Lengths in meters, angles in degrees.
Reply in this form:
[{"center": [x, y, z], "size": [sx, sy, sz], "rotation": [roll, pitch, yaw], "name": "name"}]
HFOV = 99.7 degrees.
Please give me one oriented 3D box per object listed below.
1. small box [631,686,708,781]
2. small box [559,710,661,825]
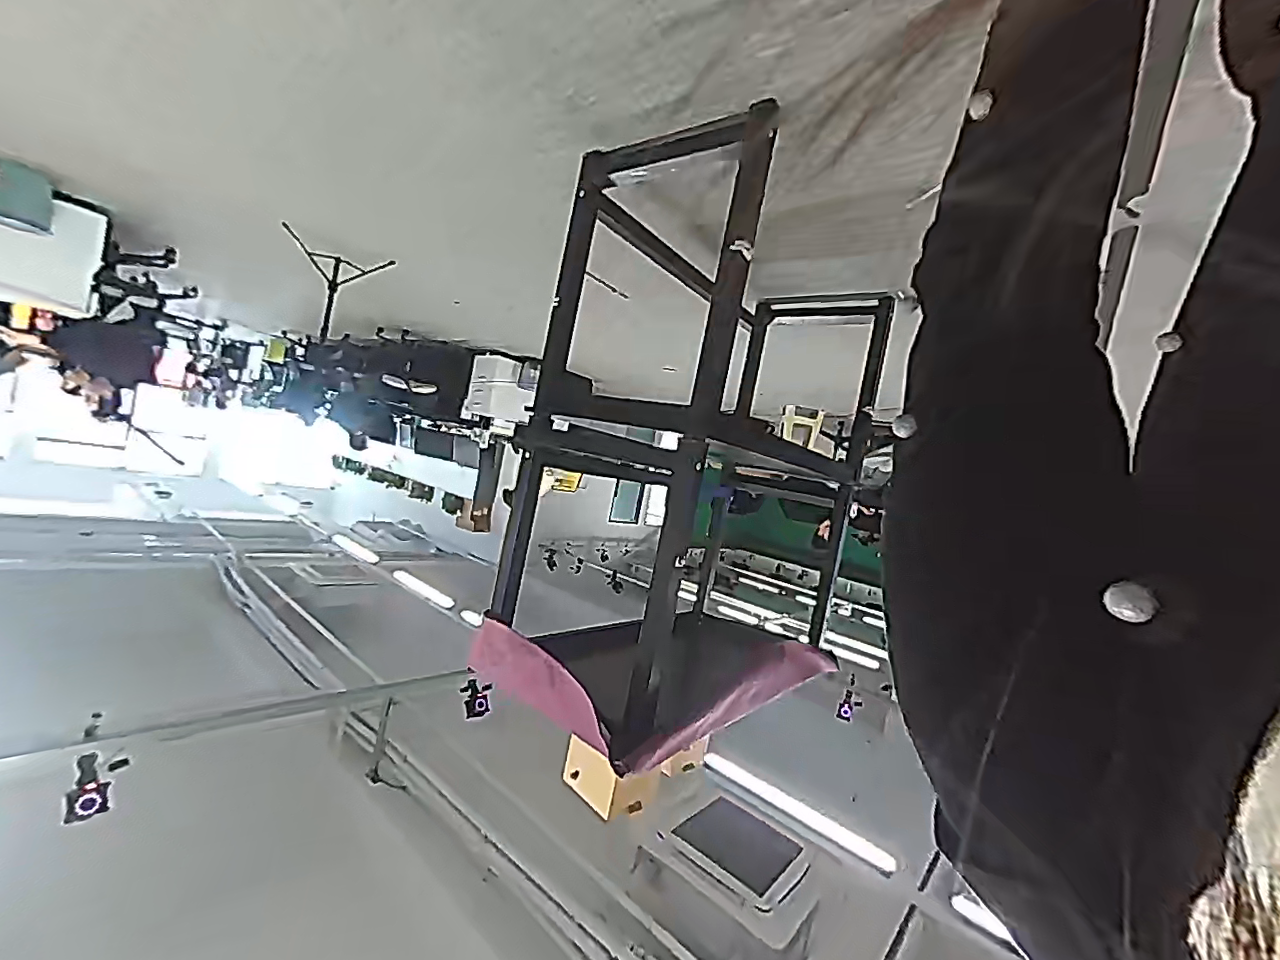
[{"center": [0.079, 0.715, 1.550], "size": [0.179, 0.176, 0.168], "rotation": [13, -179, 42], "name": "small box"}, {"center": [-0.071, 0.693, 1.333], "size": [0.168, 0.176, 0.179], "rotation": [9, -177, -45], "name": "small box"}]
